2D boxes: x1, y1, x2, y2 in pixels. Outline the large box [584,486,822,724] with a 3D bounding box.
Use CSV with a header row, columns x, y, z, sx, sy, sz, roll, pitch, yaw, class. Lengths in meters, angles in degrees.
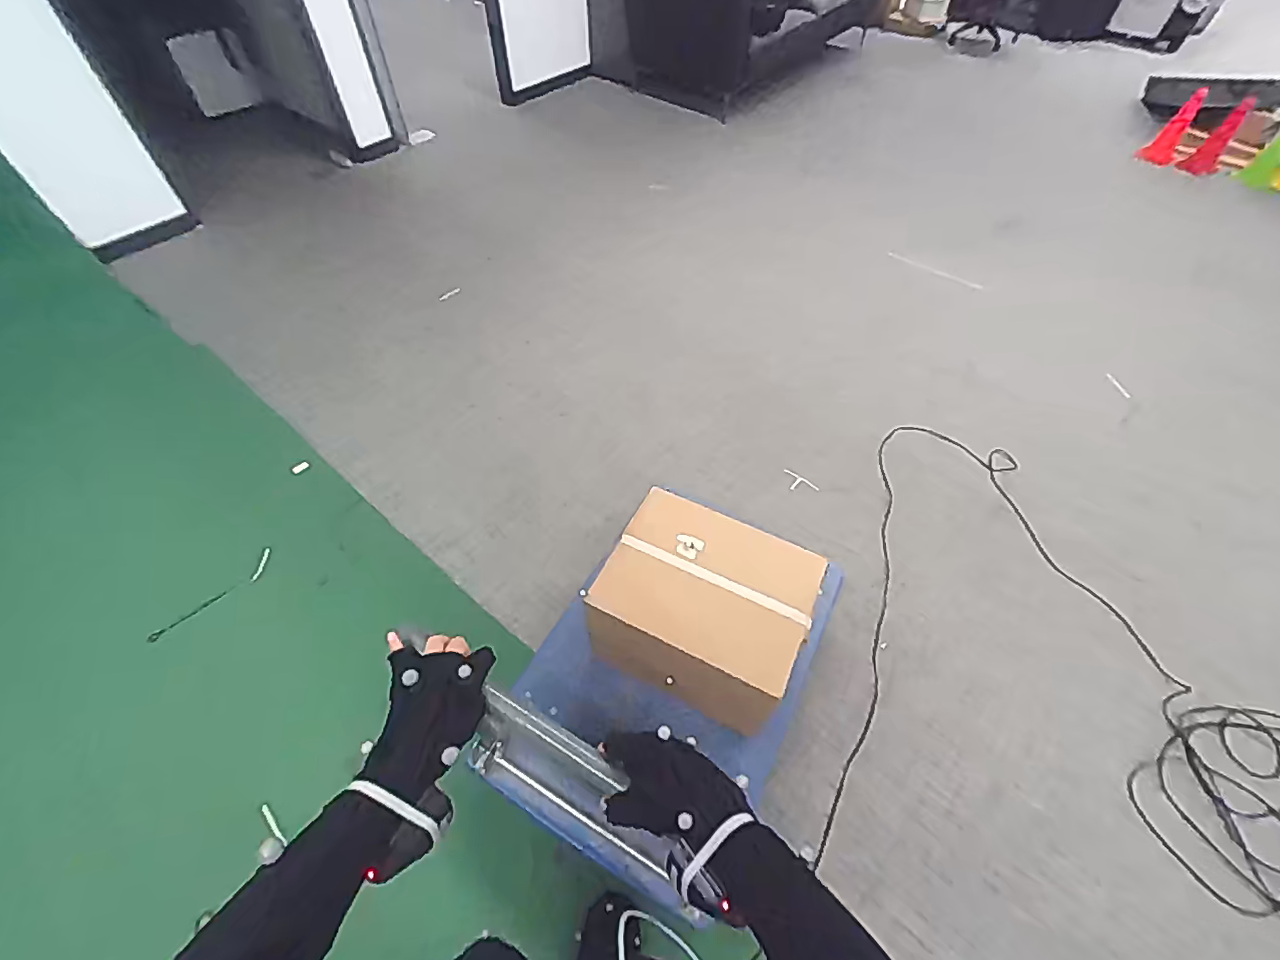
x,y,z,sx,sy,sz,roll,pitch,yaw,class
0.134,0.280,1.202,0.408,0.320,0.320,23,56,16,large box
